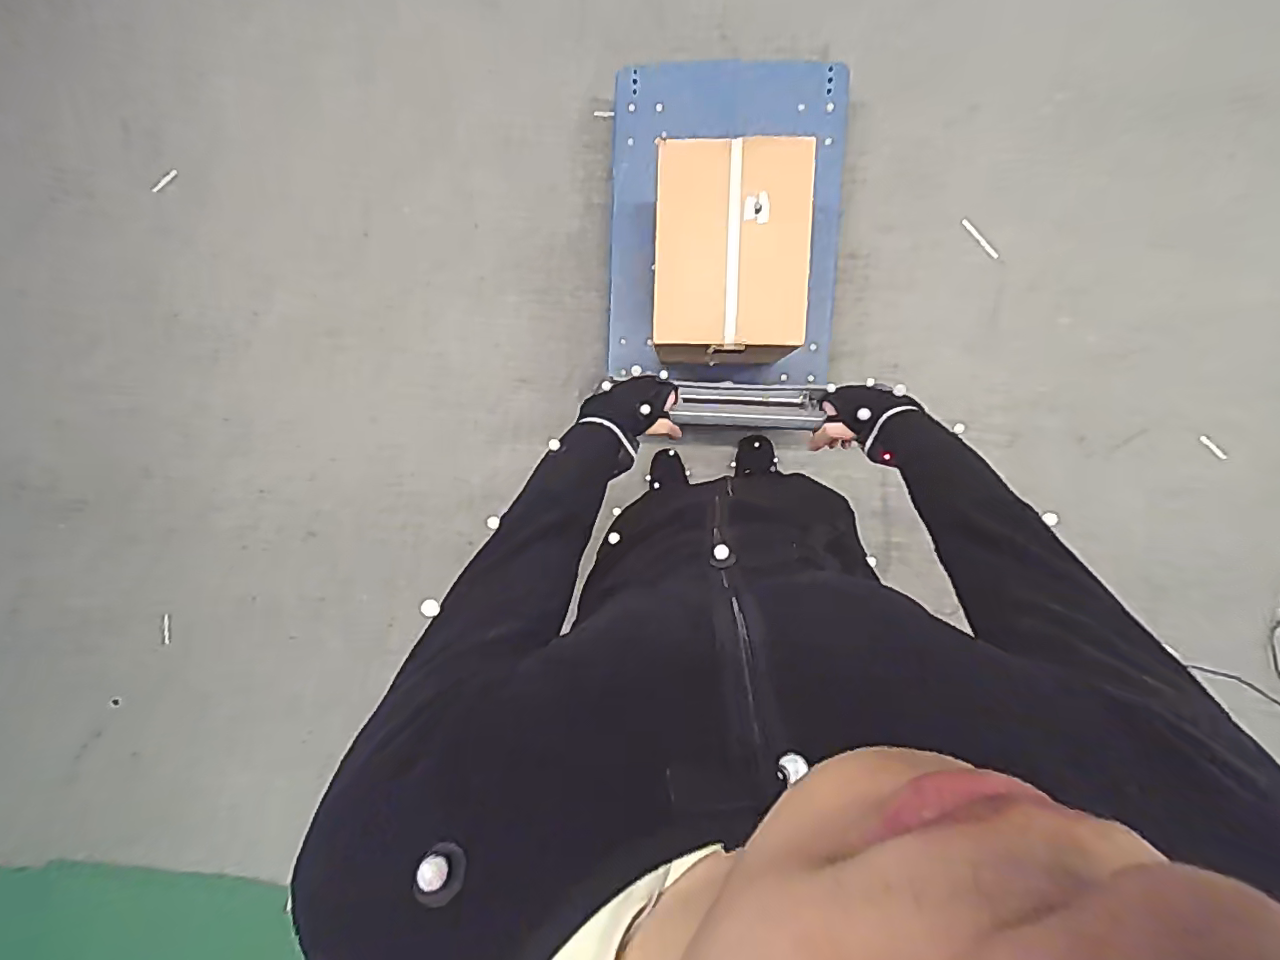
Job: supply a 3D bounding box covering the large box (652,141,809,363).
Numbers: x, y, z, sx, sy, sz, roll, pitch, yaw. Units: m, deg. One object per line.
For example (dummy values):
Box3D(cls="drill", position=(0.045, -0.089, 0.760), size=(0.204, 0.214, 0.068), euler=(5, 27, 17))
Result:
Box3D(cls="large box", position=(0.196, -0.491, 1.250), size=(0.320, 0.320, 0.408), euler=(2, 95, 4))
